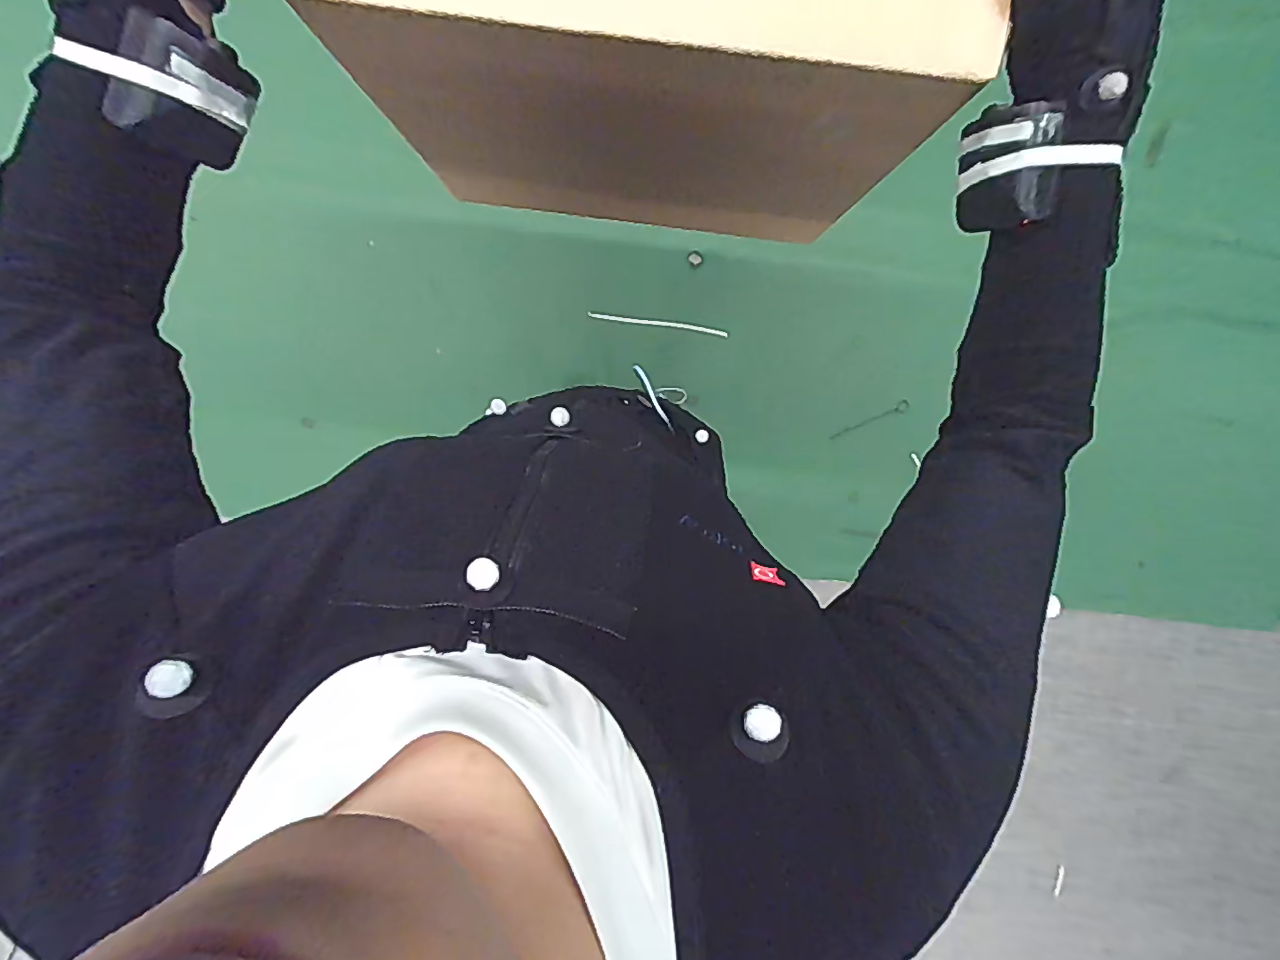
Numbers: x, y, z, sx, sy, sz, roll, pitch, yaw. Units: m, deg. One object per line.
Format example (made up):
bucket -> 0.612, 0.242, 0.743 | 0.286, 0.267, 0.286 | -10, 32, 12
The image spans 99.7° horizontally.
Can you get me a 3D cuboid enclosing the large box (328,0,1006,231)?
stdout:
large box -> 0.020, -0.425, 0.438 | 0.408, 0.320, 0.320 | 5, 99, -3
